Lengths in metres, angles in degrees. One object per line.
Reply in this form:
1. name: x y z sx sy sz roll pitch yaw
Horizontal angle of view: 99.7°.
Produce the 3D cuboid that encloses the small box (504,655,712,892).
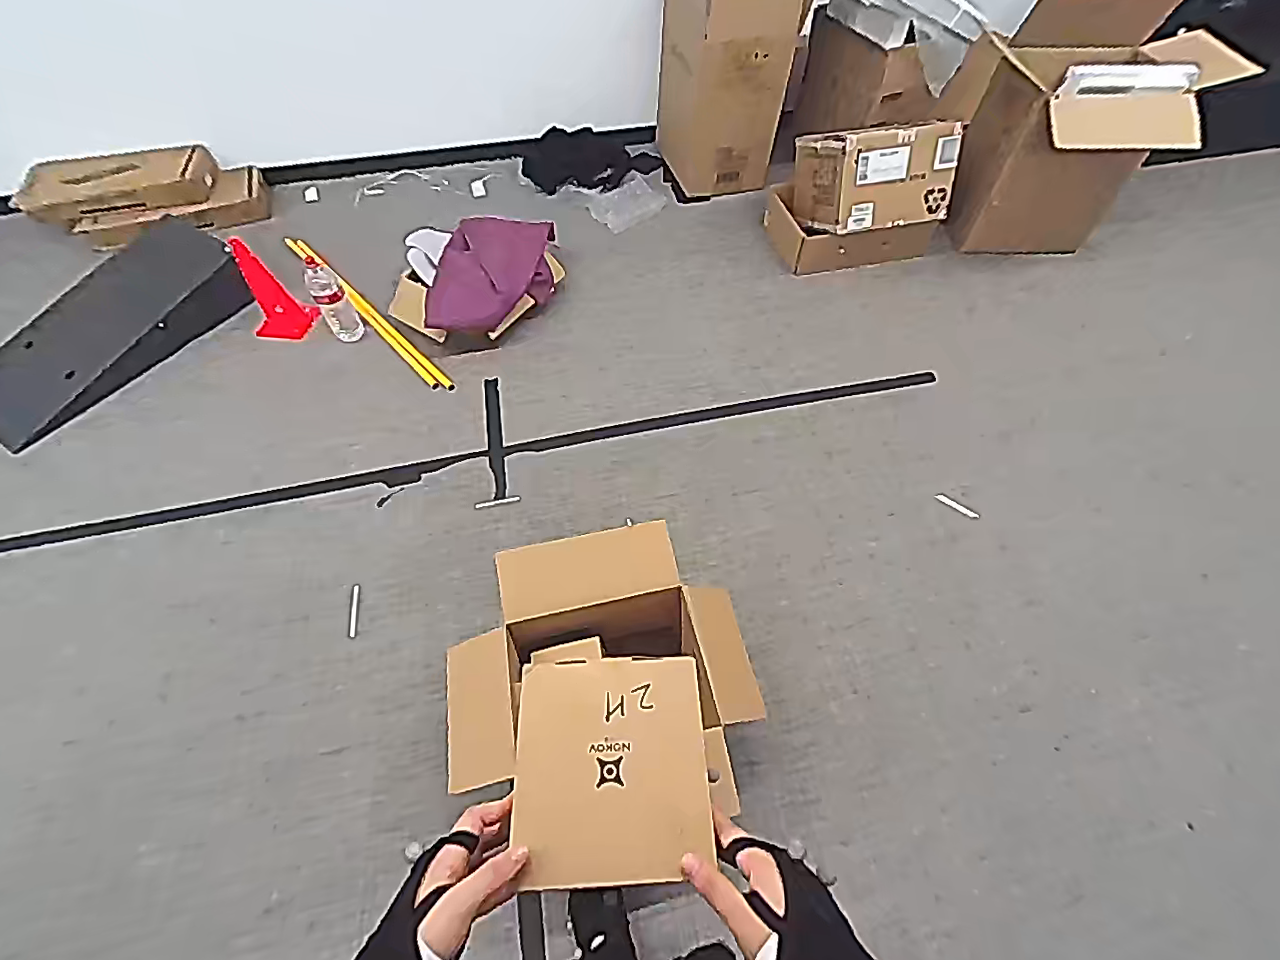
1. small box: -0.027 0.286 0.529 0.168 0.176 0.179 -2 54 -2
